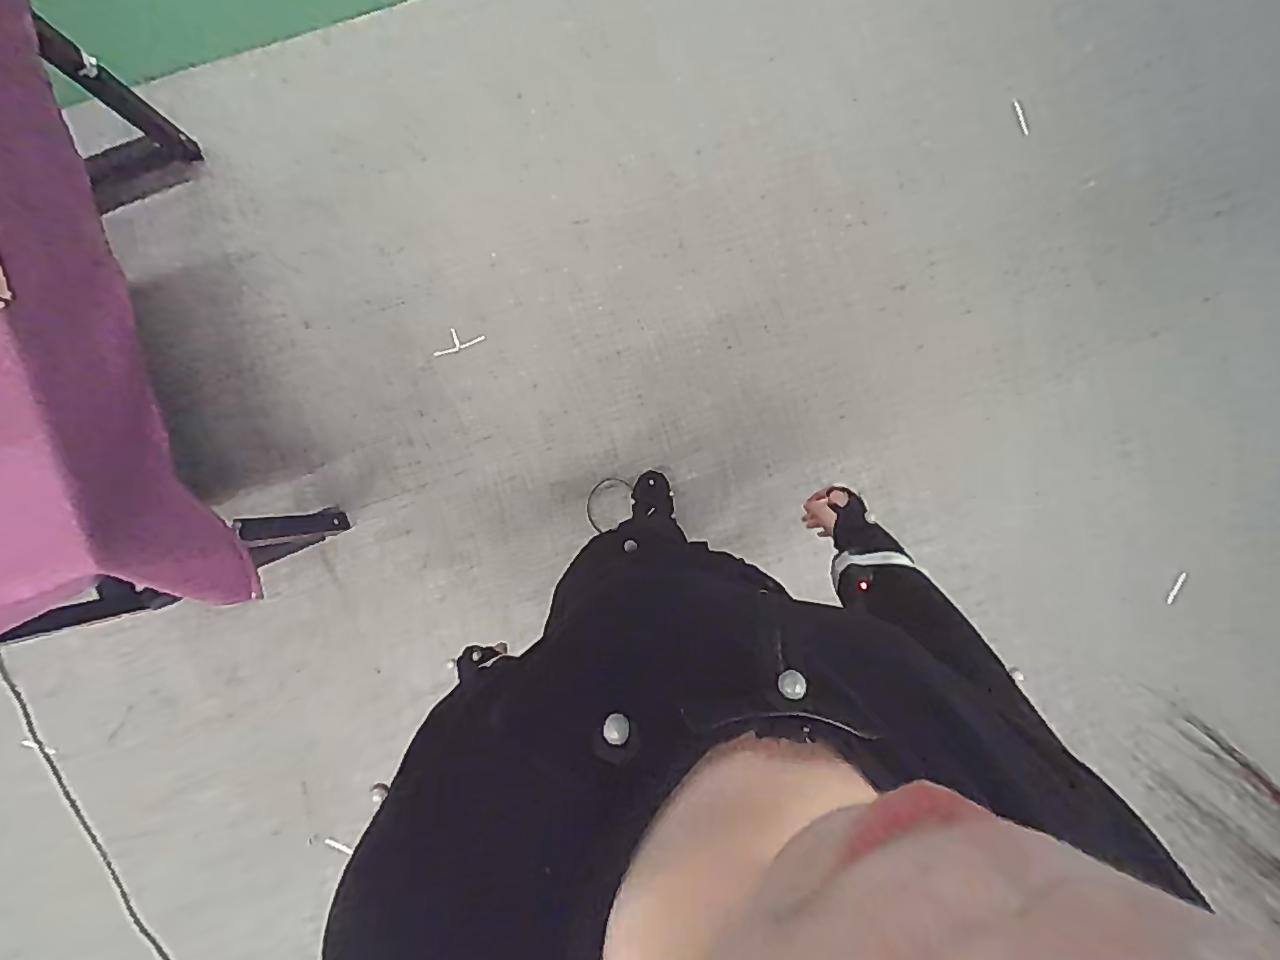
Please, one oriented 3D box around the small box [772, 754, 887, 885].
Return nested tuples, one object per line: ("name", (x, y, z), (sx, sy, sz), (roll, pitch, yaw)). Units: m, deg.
("small box", (0.422, 0.760, 1.239), (0.168, 0.176, 0.179), (-23, 89, 0))
